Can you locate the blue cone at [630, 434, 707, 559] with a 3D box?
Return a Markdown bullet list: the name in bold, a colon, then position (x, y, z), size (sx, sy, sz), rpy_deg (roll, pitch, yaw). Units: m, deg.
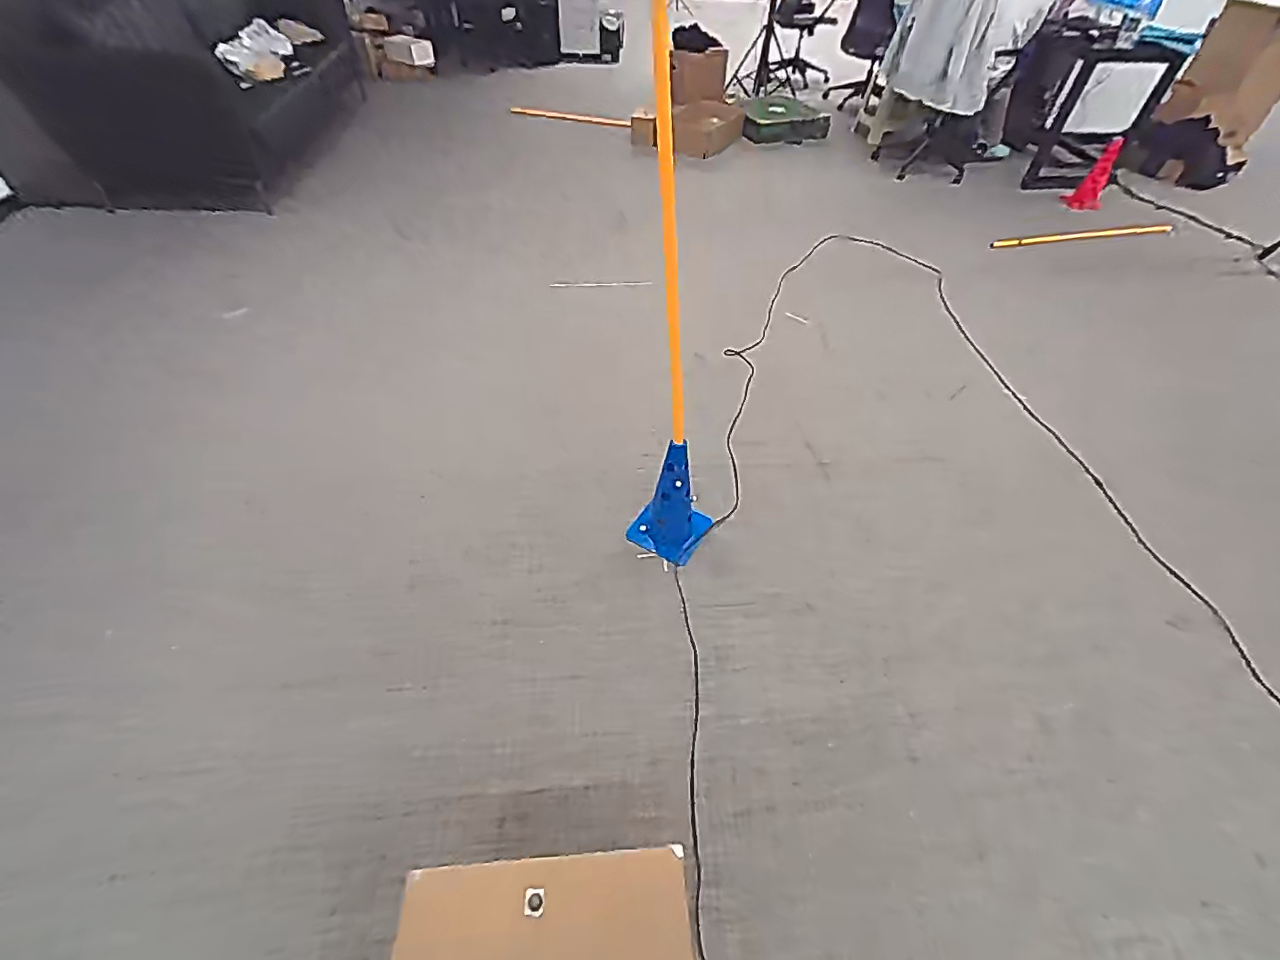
- **blue cone**: position (0.088, 0.027, 1.452), size (0.192, 0.380, 0.193), rpy_deg (23, 52, 18)
